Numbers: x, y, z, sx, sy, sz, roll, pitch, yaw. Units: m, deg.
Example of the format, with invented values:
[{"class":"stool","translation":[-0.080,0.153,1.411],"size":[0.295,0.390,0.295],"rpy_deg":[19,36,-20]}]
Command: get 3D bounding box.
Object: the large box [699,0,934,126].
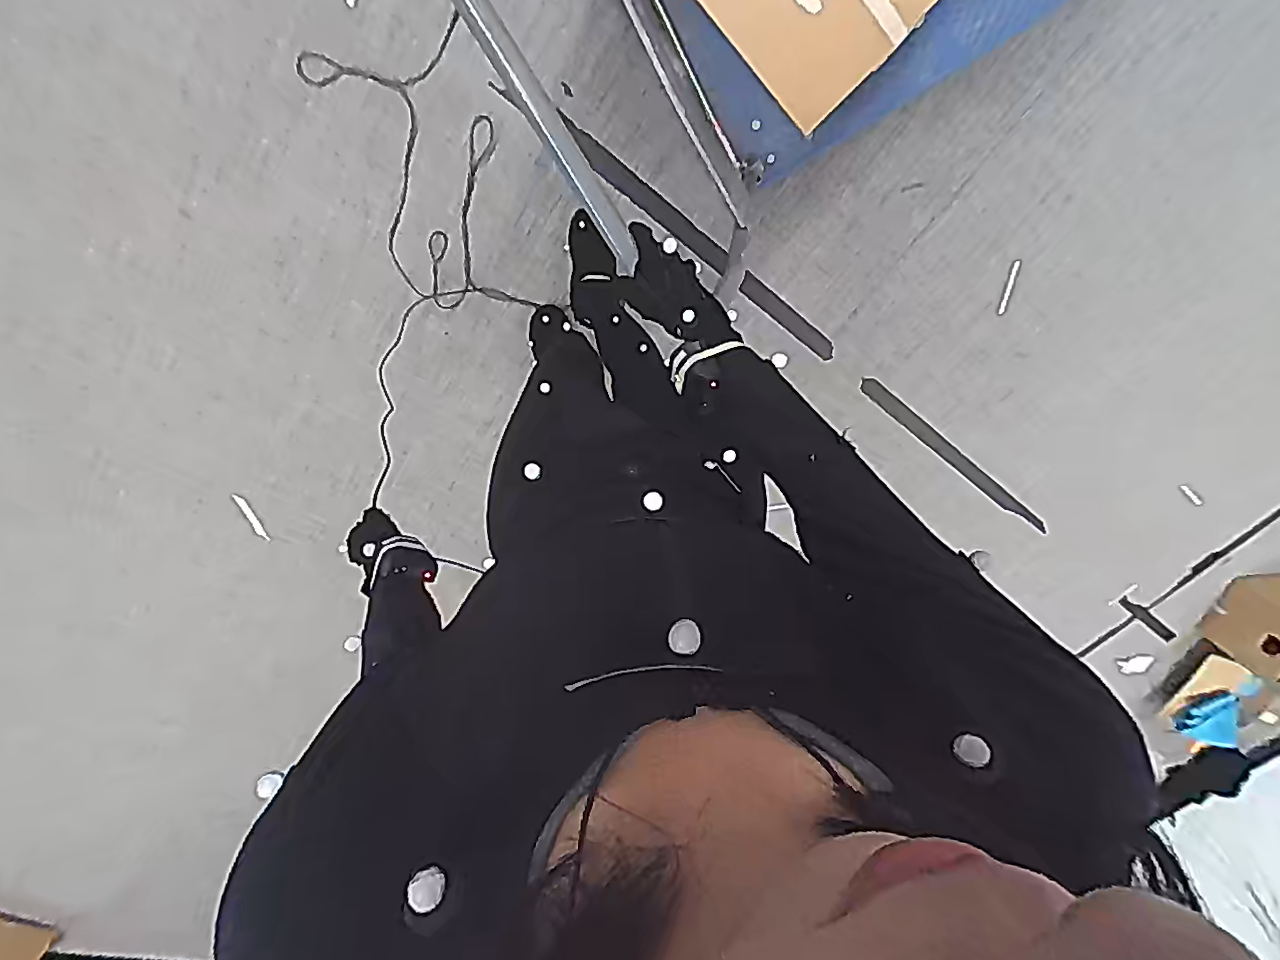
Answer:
[{"class":"large box","translation":[0.226,-0.814,0.765],"size":[0.408,0.320,0.320],"rpy_deg":[36,130,-22]}]
